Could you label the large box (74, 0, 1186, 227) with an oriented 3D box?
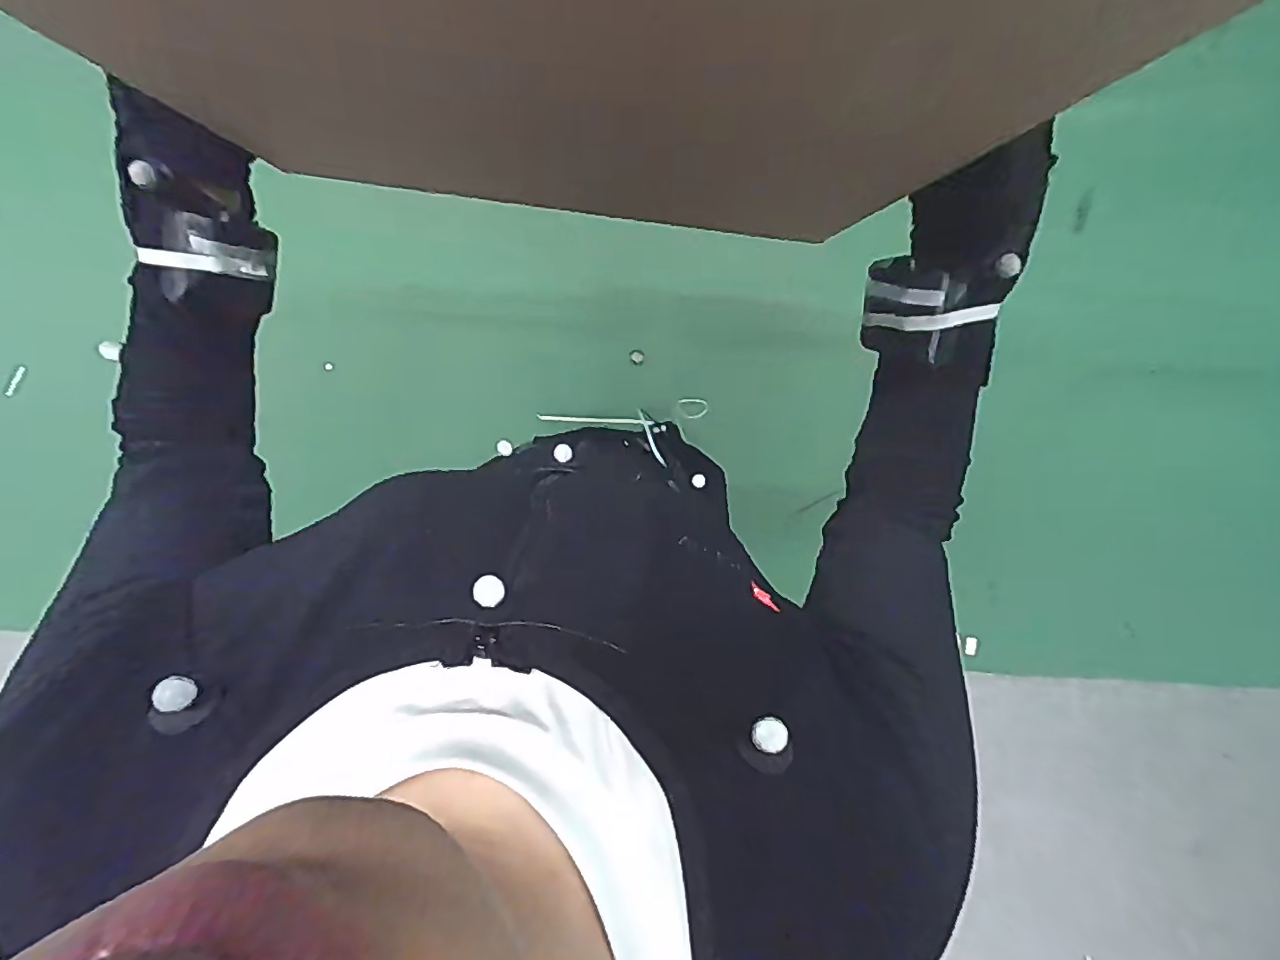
[{"bbox_3d":[-0.024,-0.328,0.226,0.408,0.320,0.320,6,103,-6],"label":"large box"}]
